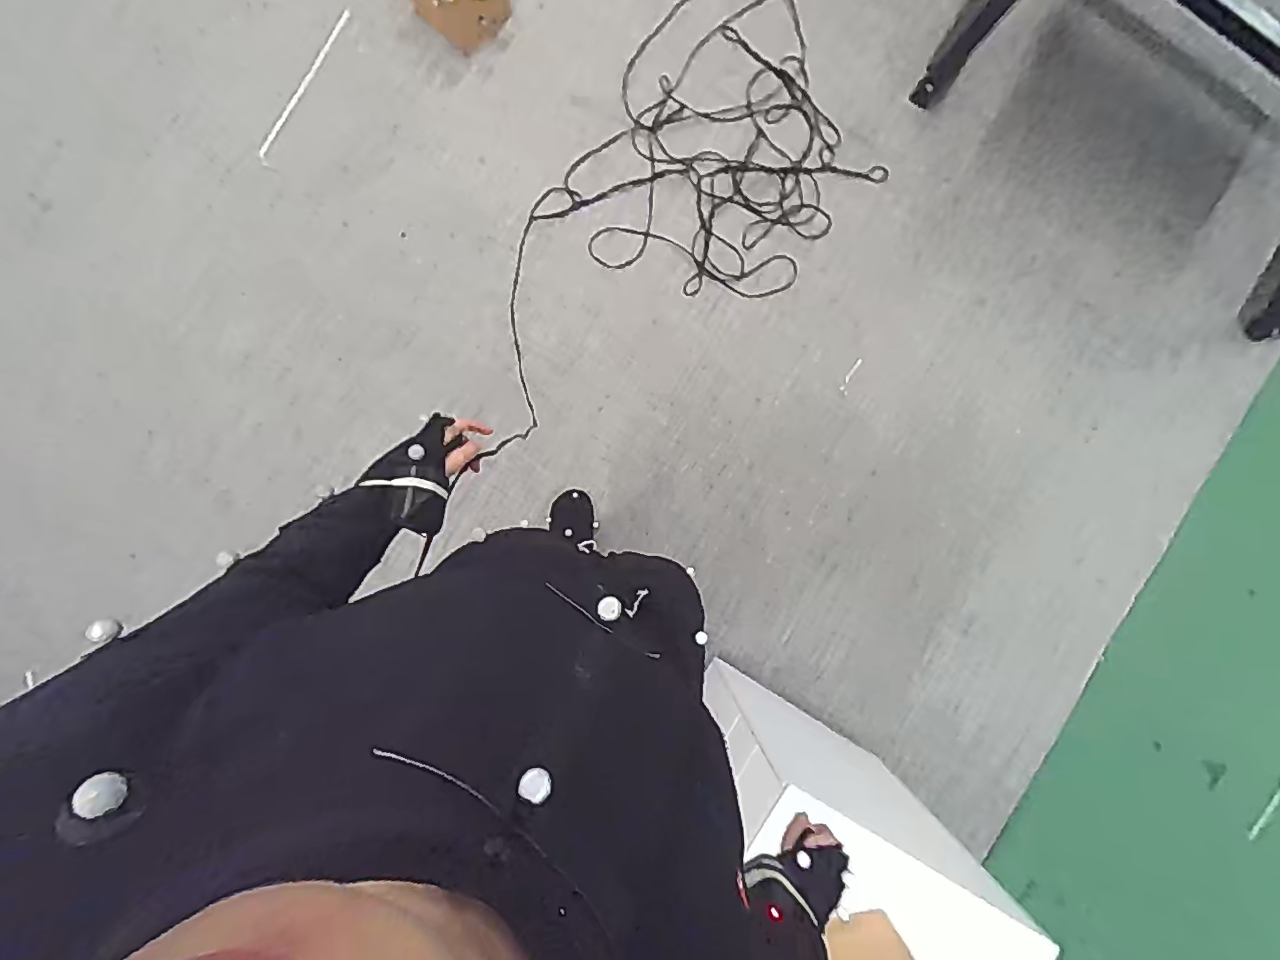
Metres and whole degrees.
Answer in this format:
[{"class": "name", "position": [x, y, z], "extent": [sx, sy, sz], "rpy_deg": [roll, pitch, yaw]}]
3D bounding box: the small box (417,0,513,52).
[{"class": "small box", "position": [-0.417, -1.150, 1.239], "extent": [0.179, 0.176, 0.168], "rpy_deg": [42, 88, -5]}]
